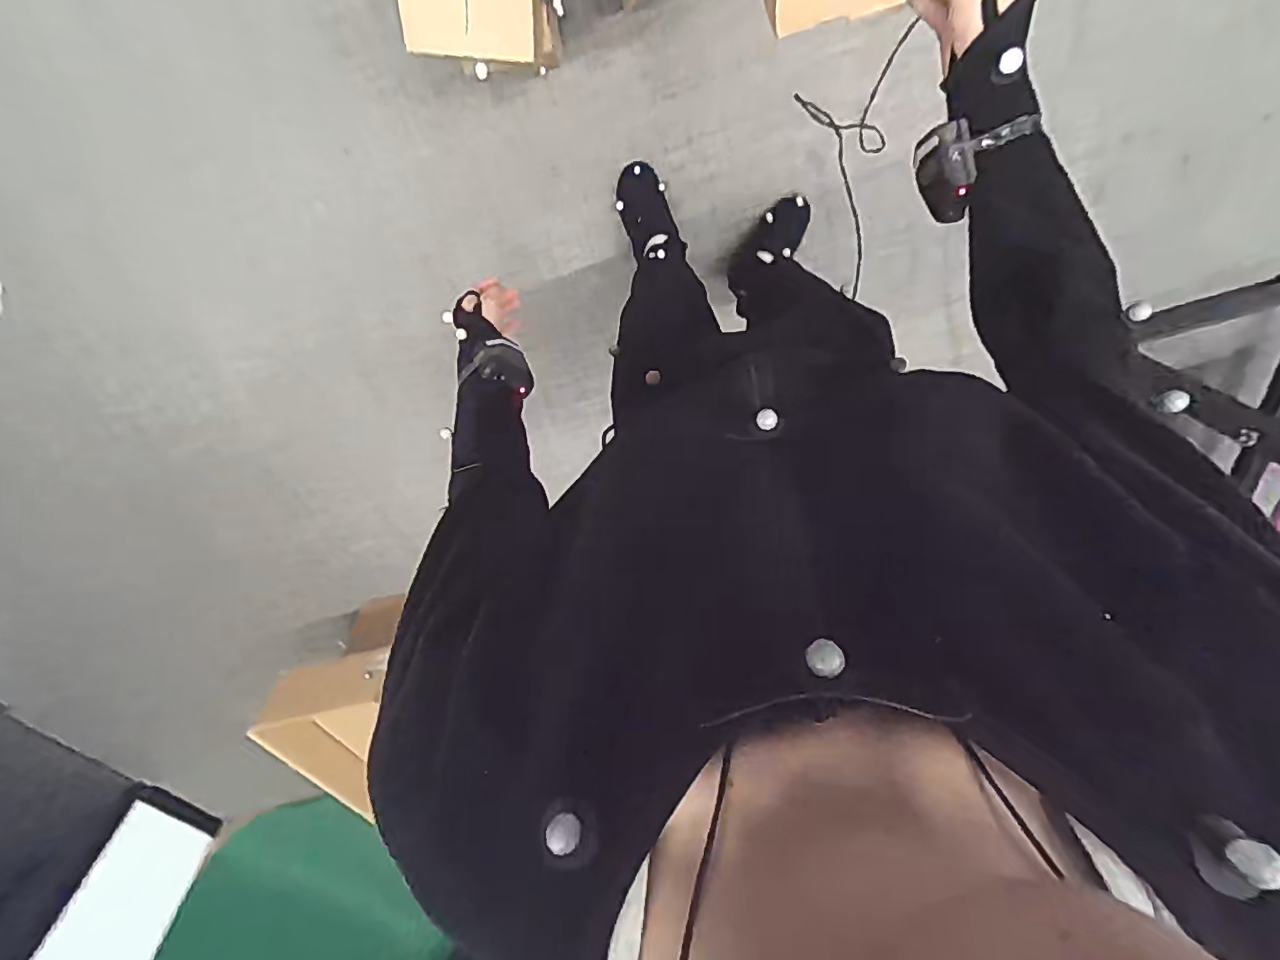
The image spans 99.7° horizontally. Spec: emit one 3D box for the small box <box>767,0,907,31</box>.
[{"bbox_3d":[0.171,-0.490,0.396,0.168,0.176,0.179,-7,153,10],"label":"small box"}]

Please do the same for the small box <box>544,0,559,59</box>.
[{"bbox_3d":[-0.226,-0.766,0.845,0.179,0.176,0.168,-3,125,-2],"label":"small box"}]

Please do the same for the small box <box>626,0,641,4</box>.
[{"bbox_3d":[0.017,-0.851,0.795,0.179,0.176,0.168,-26,123,15],"label":"small box"}]

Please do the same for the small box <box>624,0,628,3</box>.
[{"bbox_3d":[0.012,-0.956,0.919,0.168,0.176,0.179,-23,123,12],"label":"small box"}]

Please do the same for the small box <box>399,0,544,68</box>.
[{"bbox_3d":[-0.217,-0.666,0.715,0.168,0.176,0.179,1,125,-5],"label":"small box"}]
